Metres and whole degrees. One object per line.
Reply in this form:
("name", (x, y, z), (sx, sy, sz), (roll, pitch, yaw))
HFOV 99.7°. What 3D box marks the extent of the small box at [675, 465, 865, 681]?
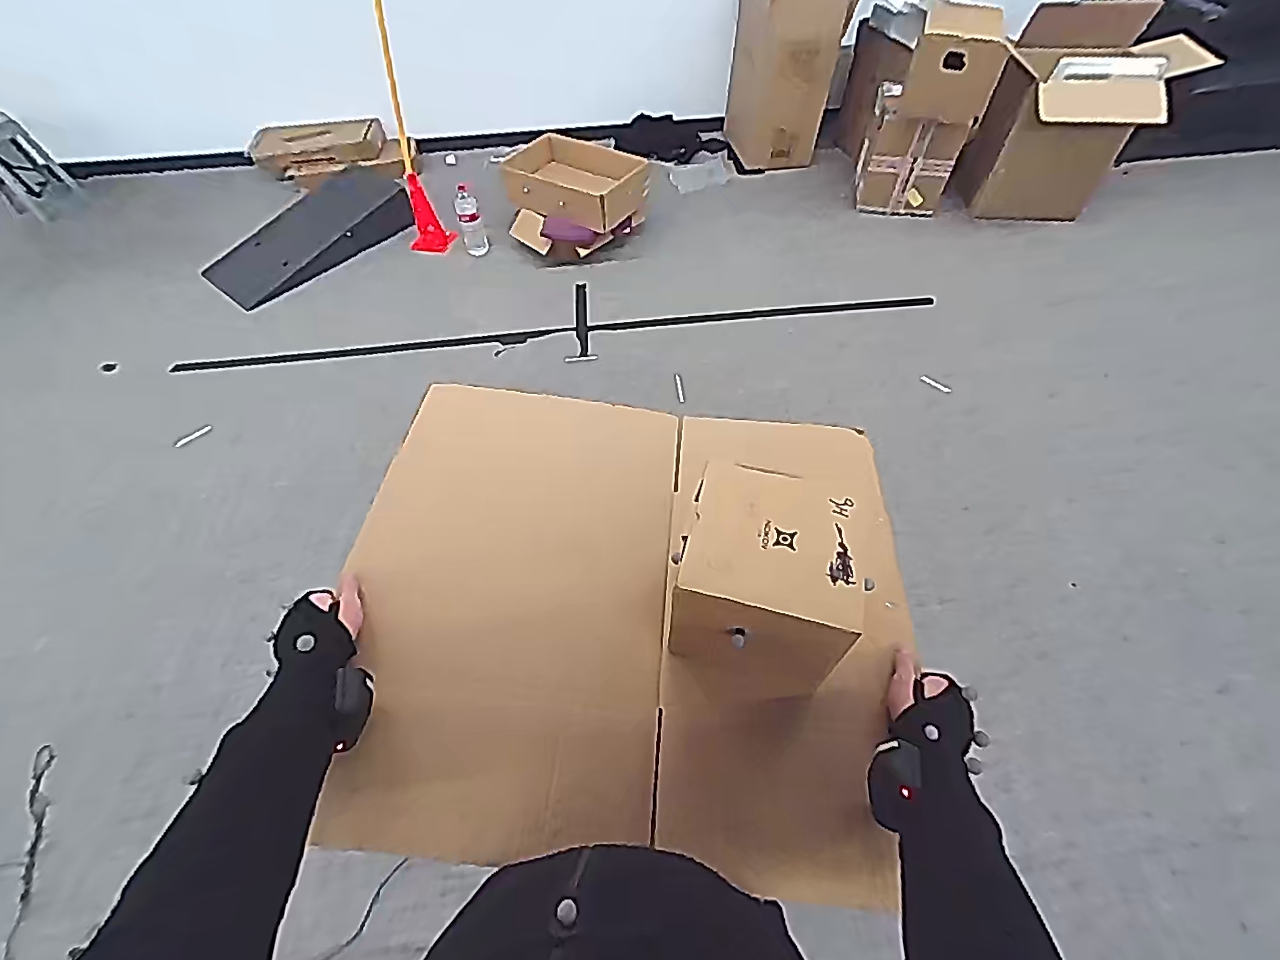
("small box", (0.141, 0.109, 0.616), (0.179, 0.176, 0.168), (11, 54, 11))
